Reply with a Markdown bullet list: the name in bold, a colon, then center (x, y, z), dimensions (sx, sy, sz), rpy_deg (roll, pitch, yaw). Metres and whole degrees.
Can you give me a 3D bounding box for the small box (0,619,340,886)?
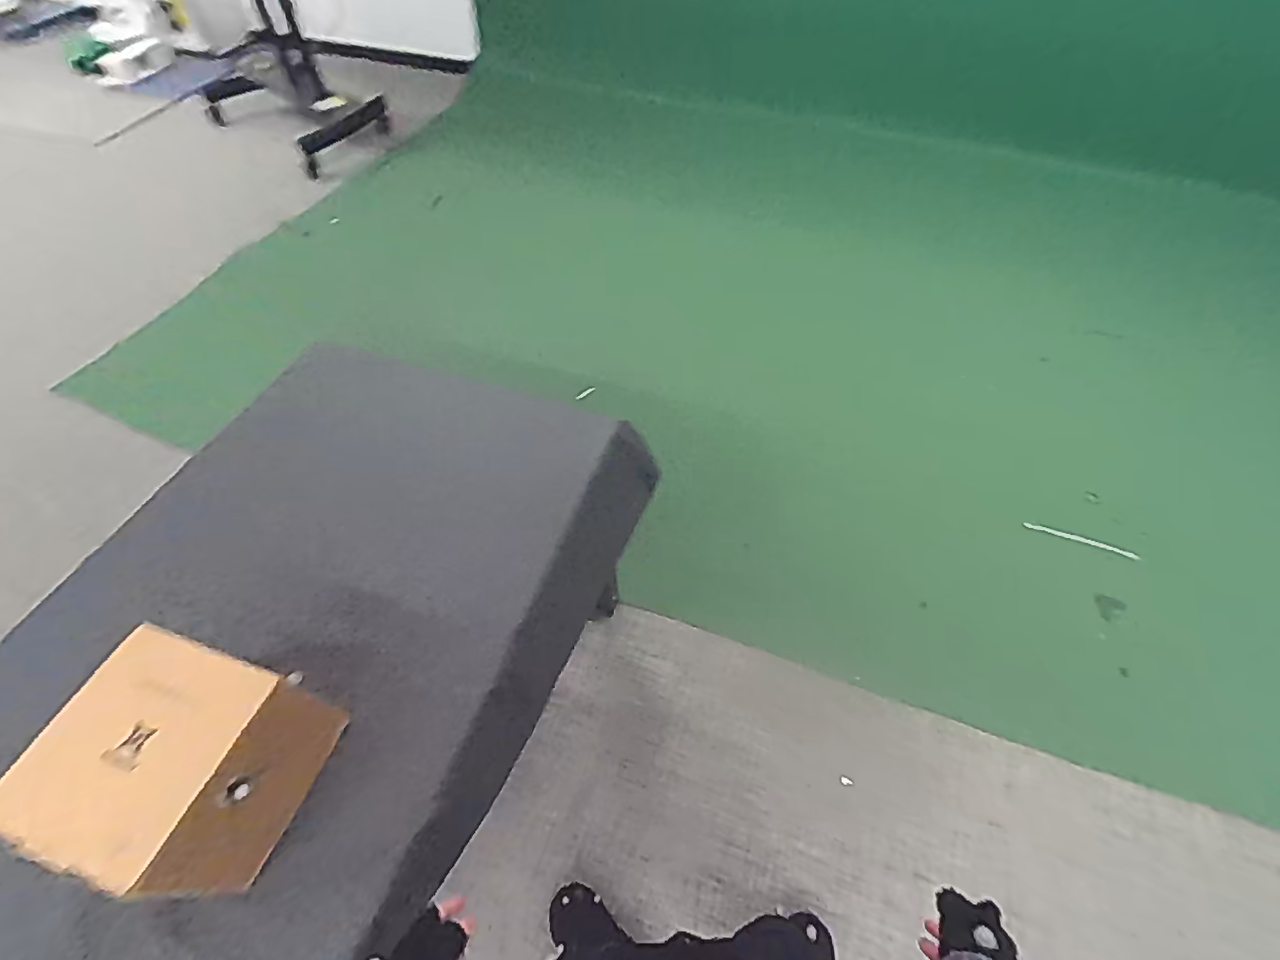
- **small box**: center (-0.446, 0.273, 0.543), dimensions (0.168, 0.176, 0.179), rpy_deg (16, 55, 9)
